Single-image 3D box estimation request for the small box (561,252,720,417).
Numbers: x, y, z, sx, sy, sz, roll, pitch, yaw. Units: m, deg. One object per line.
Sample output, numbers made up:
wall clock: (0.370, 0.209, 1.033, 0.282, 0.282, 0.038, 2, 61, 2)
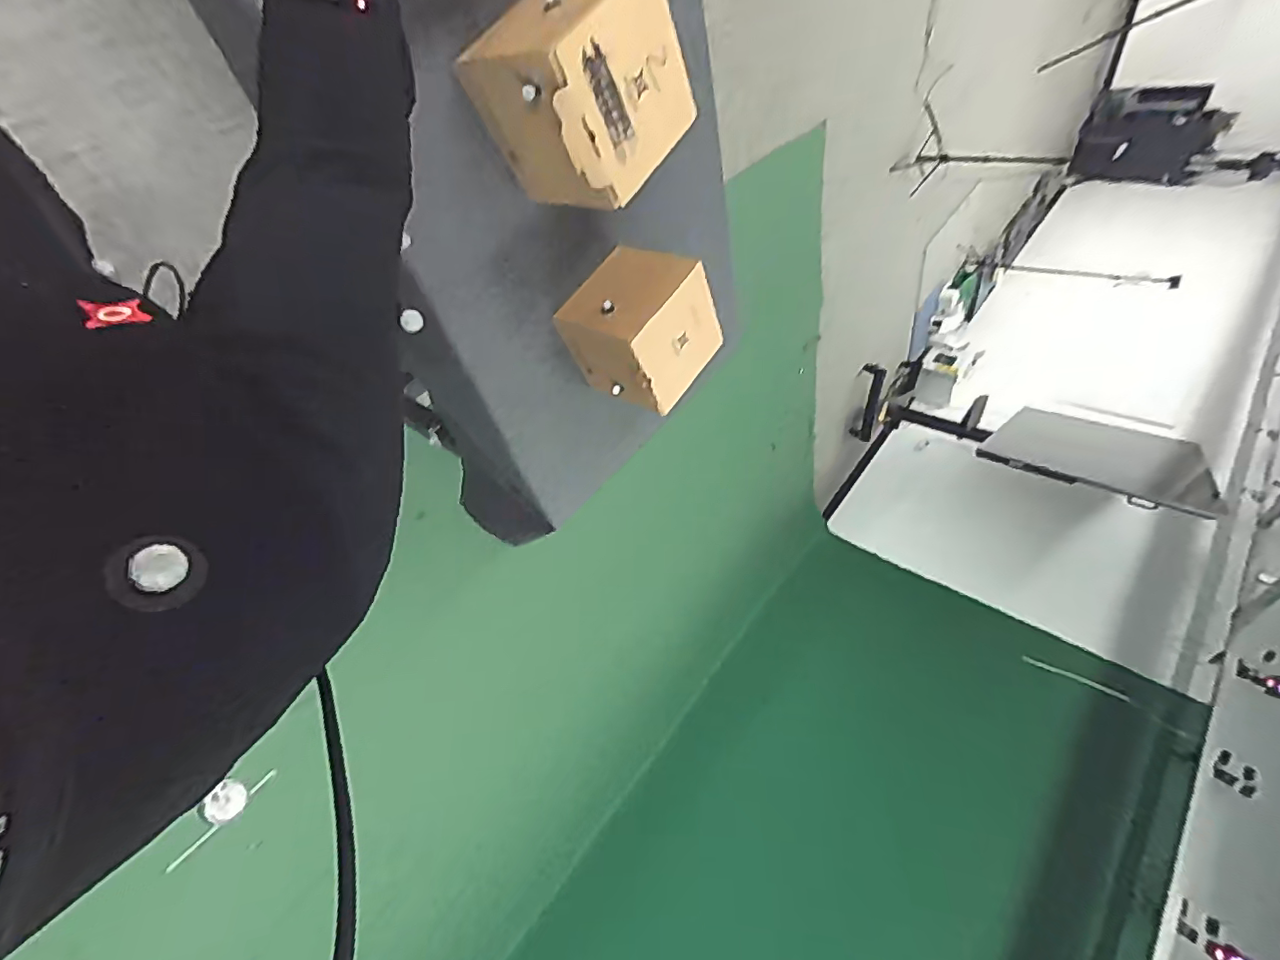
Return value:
small box: (-0.003, -0.233, 0.860, 0.179, 0.176, 0.168, -54, 146, -16)
